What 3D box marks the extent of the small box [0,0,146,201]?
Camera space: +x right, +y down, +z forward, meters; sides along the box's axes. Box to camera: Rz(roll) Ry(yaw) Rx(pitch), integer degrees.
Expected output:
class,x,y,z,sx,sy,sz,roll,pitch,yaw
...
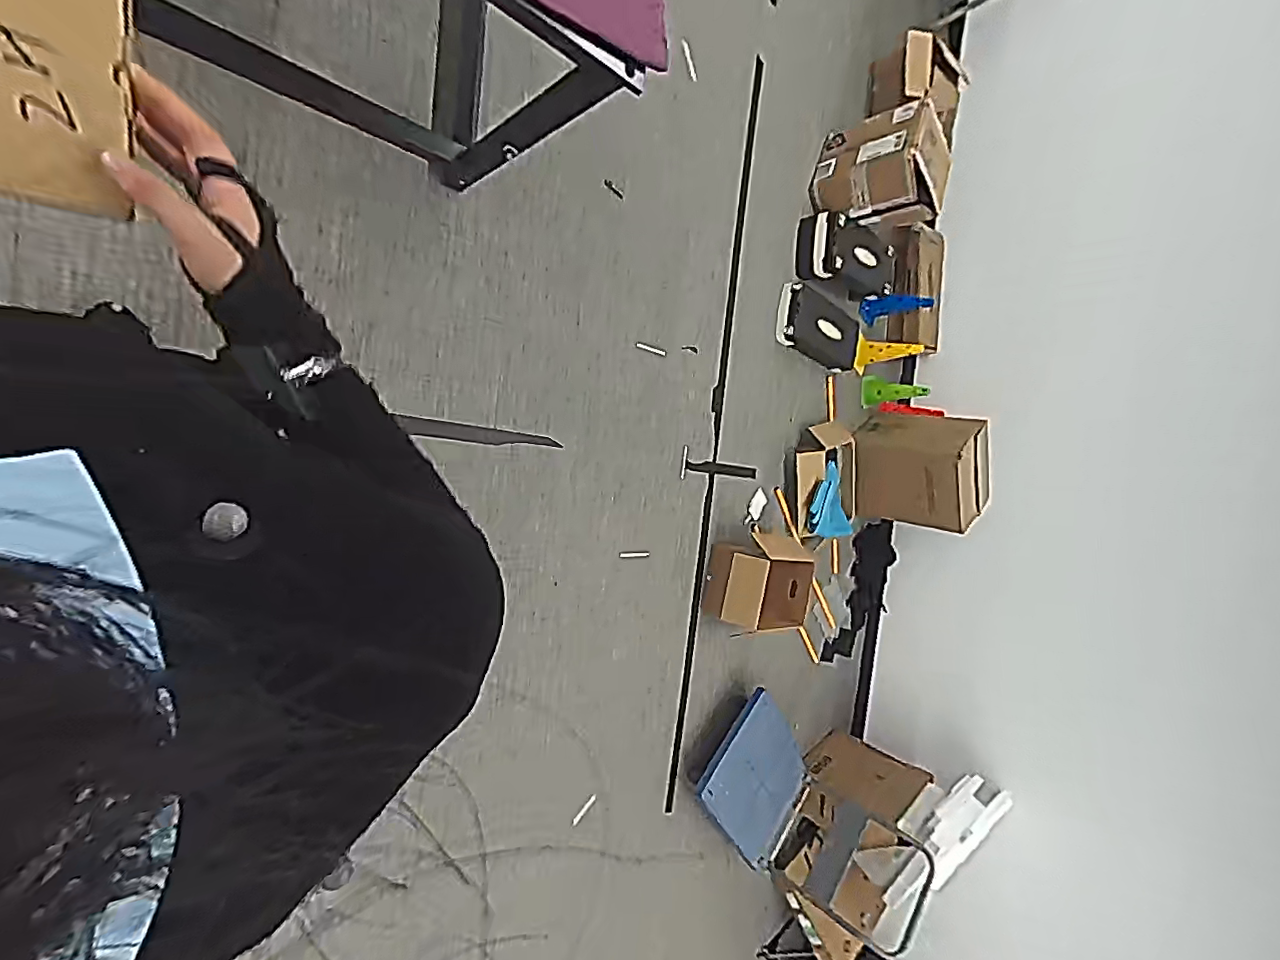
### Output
class,x,y,z,sx,sy,sz,roll,pitch,yaw
small box,-0.414,-0.279,0.321,0.179,0.176,0.168,-2,113,-43
